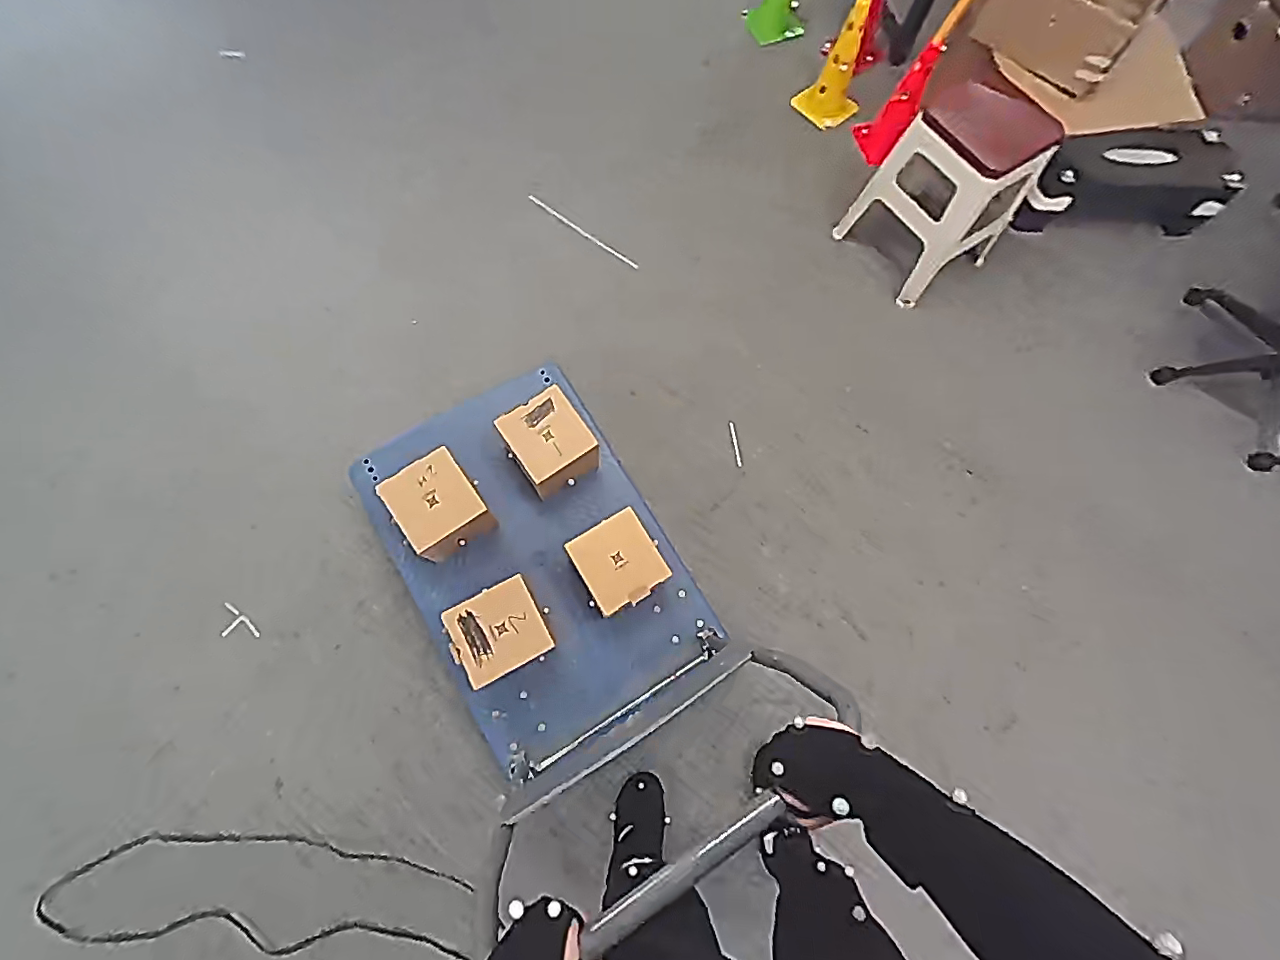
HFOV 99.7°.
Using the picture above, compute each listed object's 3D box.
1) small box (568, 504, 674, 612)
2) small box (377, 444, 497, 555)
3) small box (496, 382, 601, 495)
[{"bbox_3d":[-0.049,0.180,1.202,0.168,0.176,0.179,-31,81,-12],"label":"small box"},{"bbox_3d":[-0.438,0.053,1.198,0.168,0.176,0.179,-34,81,-13],"label":"small box"},{"bbox_3d":[-0.208,-0.089,1.256,0.168,0.176,0.179,-34,82,-12],"label":"small box"}]
